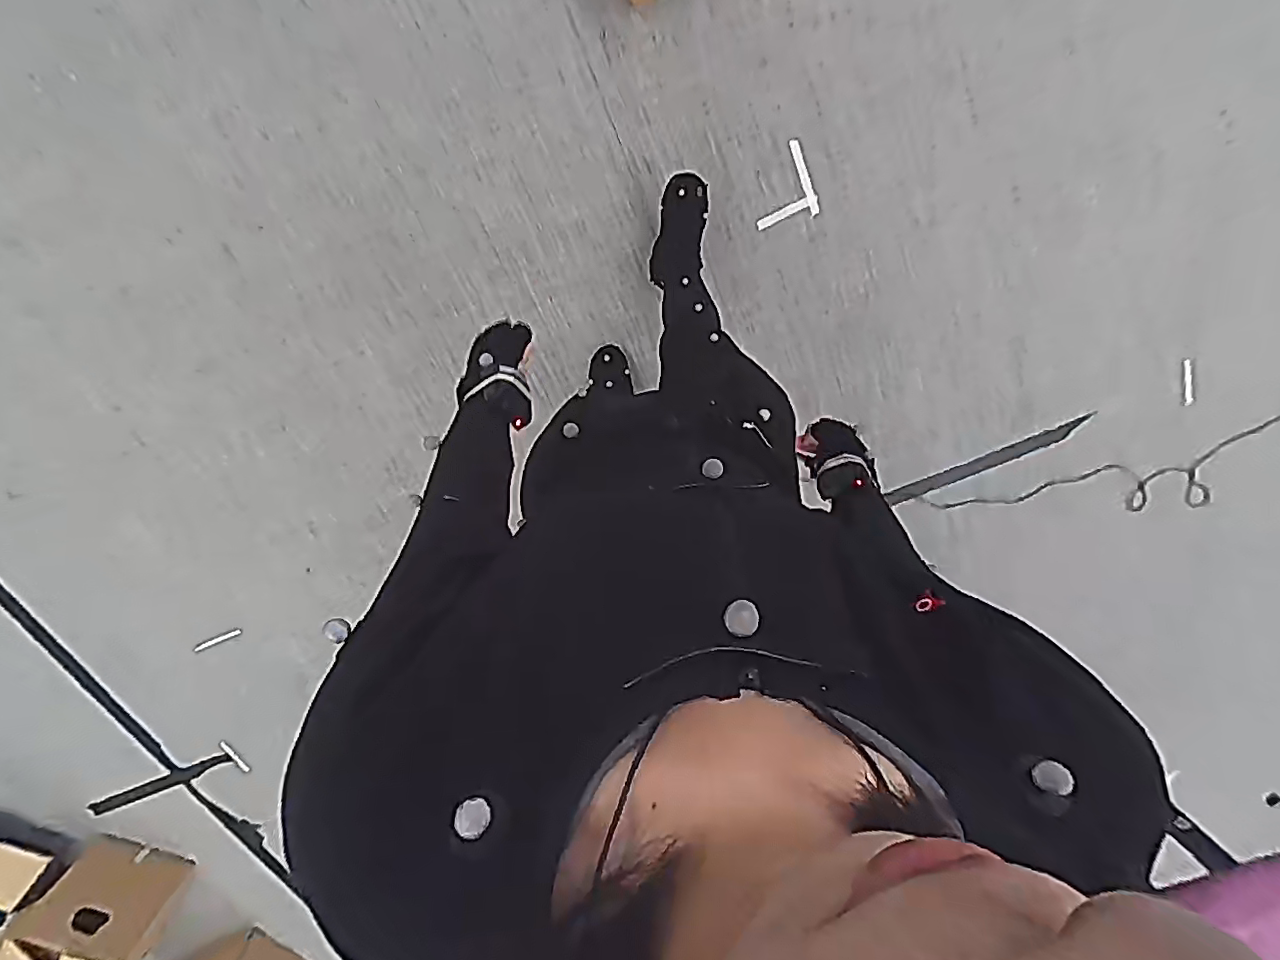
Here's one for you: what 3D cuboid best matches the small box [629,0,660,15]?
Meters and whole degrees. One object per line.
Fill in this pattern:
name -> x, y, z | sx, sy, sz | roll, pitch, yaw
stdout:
small box -> 0.024, -1.099, 1.074 | 0.179, 0.176, 0.168 | -41, 106, 10
